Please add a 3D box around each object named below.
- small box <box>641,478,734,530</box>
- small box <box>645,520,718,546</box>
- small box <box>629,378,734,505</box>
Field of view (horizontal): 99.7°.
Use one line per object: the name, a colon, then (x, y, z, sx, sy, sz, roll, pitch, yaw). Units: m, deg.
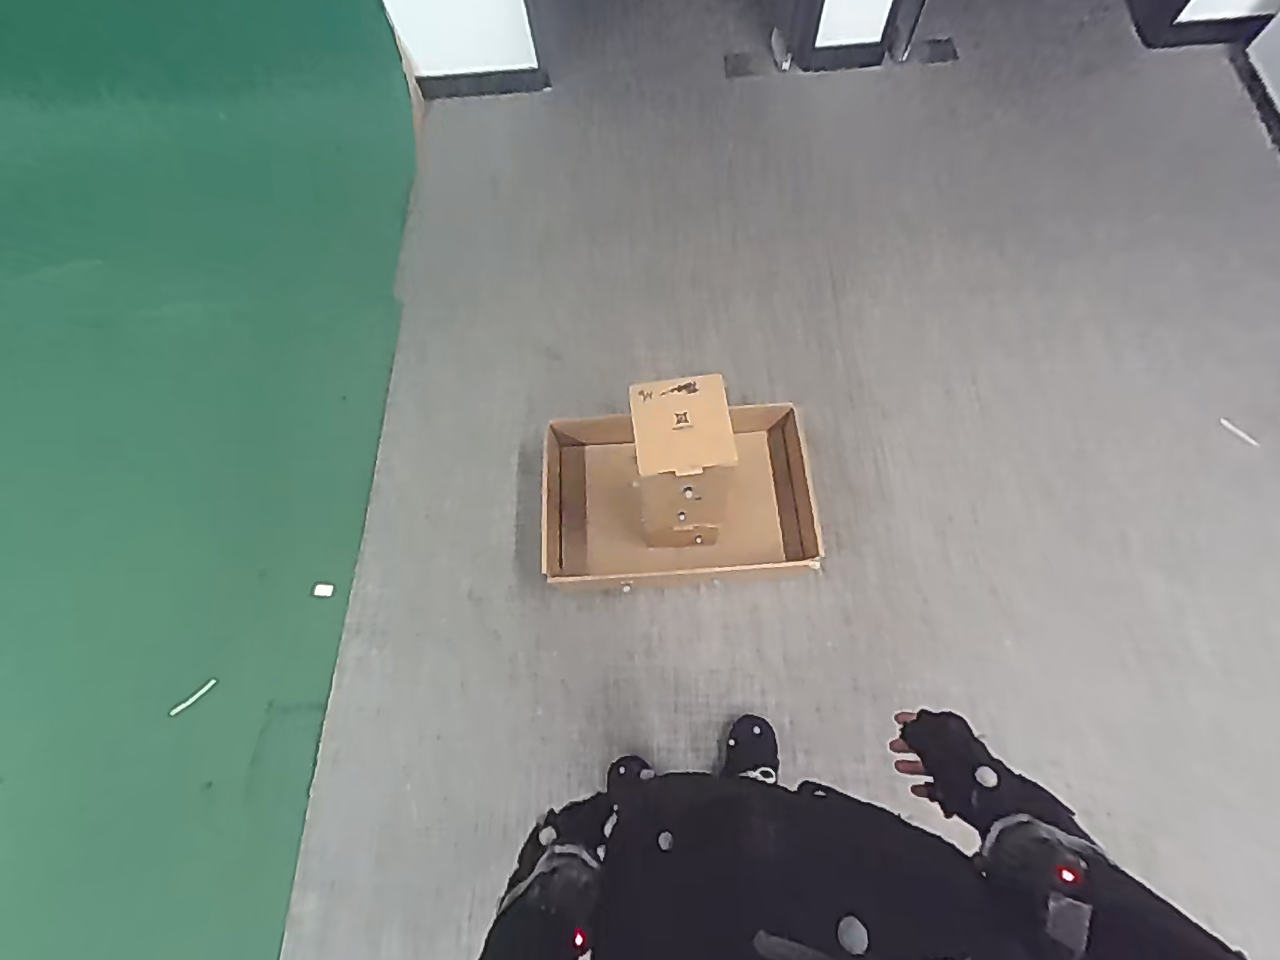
small box: (0.089, 0.000, 1.140, 0.179, 0.176, 0.168, -7, 69, 0)
small box: (0.097, 0.056, 1.293, 0.168, 0.176, 0.179, -3, 68, 3)
small box: (0.074, -0.061, 0.989, 0.168, 0.176, 0.179, -7, 69, 1)
